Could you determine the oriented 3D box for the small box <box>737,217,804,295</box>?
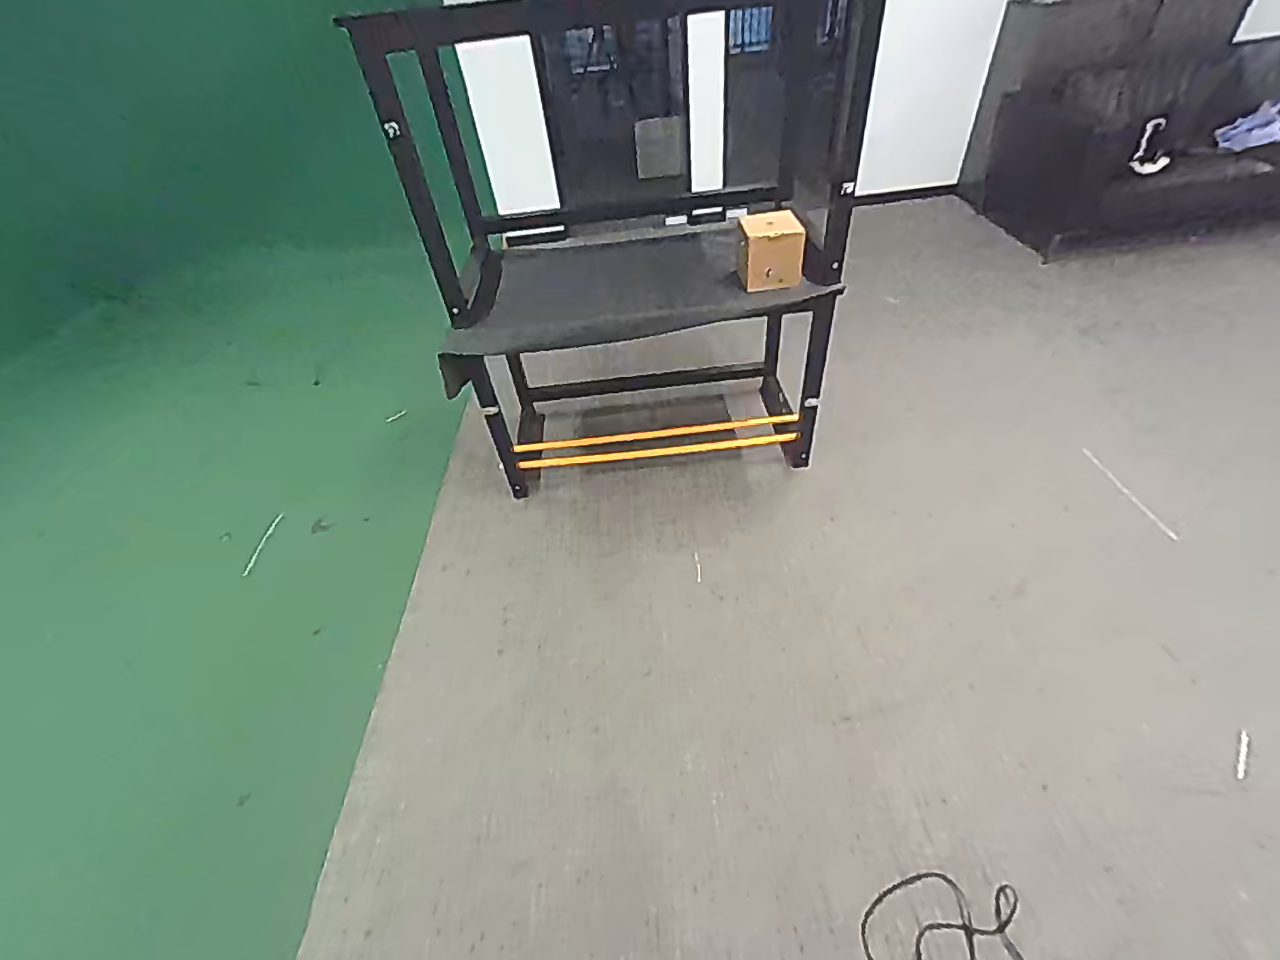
[{"bbox_3d":[0.397,-0.693,1.675,0.168,0.176,0.179,-7,43,1],"label":"small box"}]
